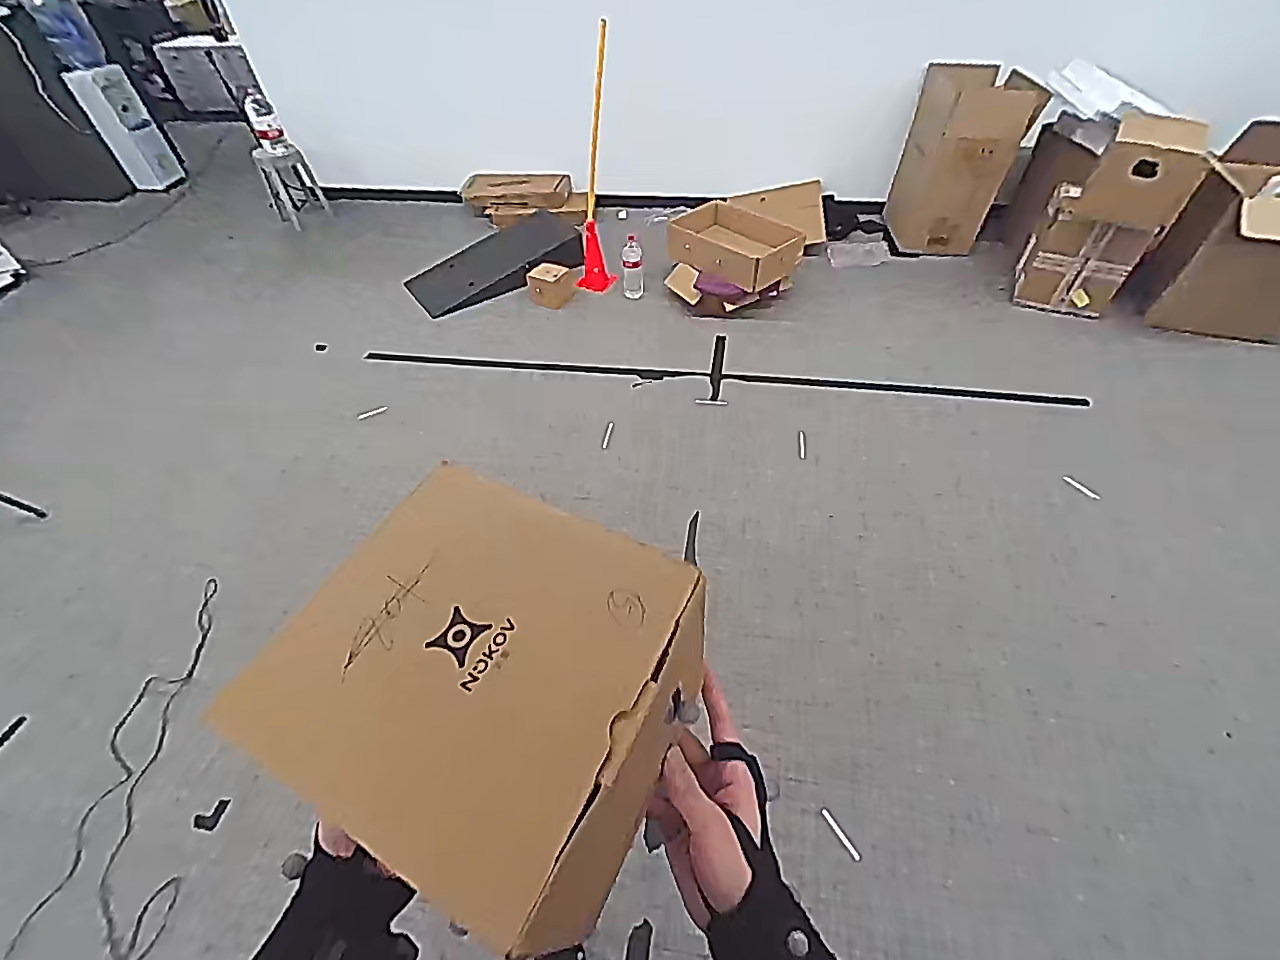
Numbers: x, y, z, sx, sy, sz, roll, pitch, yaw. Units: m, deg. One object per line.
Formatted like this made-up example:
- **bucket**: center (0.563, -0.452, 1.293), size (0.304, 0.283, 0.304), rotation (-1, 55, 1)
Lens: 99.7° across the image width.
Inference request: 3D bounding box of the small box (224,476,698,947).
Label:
- **small box**: center (-0.075, 0.131, 0.326), size (0.179, 0.176, 0.168), rotation (19, 55, 20)
